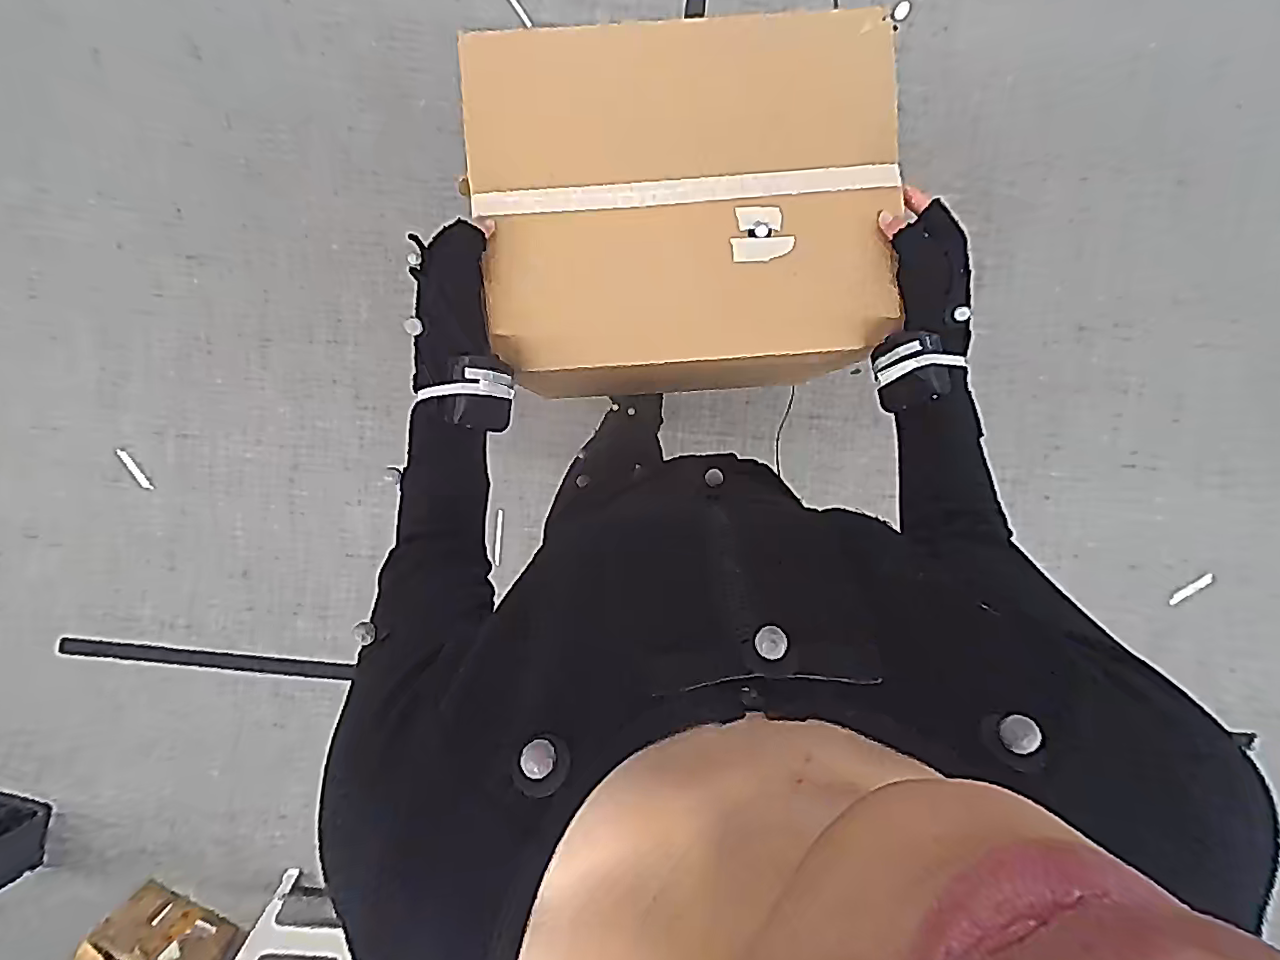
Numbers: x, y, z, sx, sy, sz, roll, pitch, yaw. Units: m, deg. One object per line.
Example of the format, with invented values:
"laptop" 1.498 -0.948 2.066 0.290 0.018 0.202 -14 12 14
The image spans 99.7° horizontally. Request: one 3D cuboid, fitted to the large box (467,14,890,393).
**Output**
"large box" 0.038 -0.294 0.681 0.408 0.320 0.320 -4 94 -1
